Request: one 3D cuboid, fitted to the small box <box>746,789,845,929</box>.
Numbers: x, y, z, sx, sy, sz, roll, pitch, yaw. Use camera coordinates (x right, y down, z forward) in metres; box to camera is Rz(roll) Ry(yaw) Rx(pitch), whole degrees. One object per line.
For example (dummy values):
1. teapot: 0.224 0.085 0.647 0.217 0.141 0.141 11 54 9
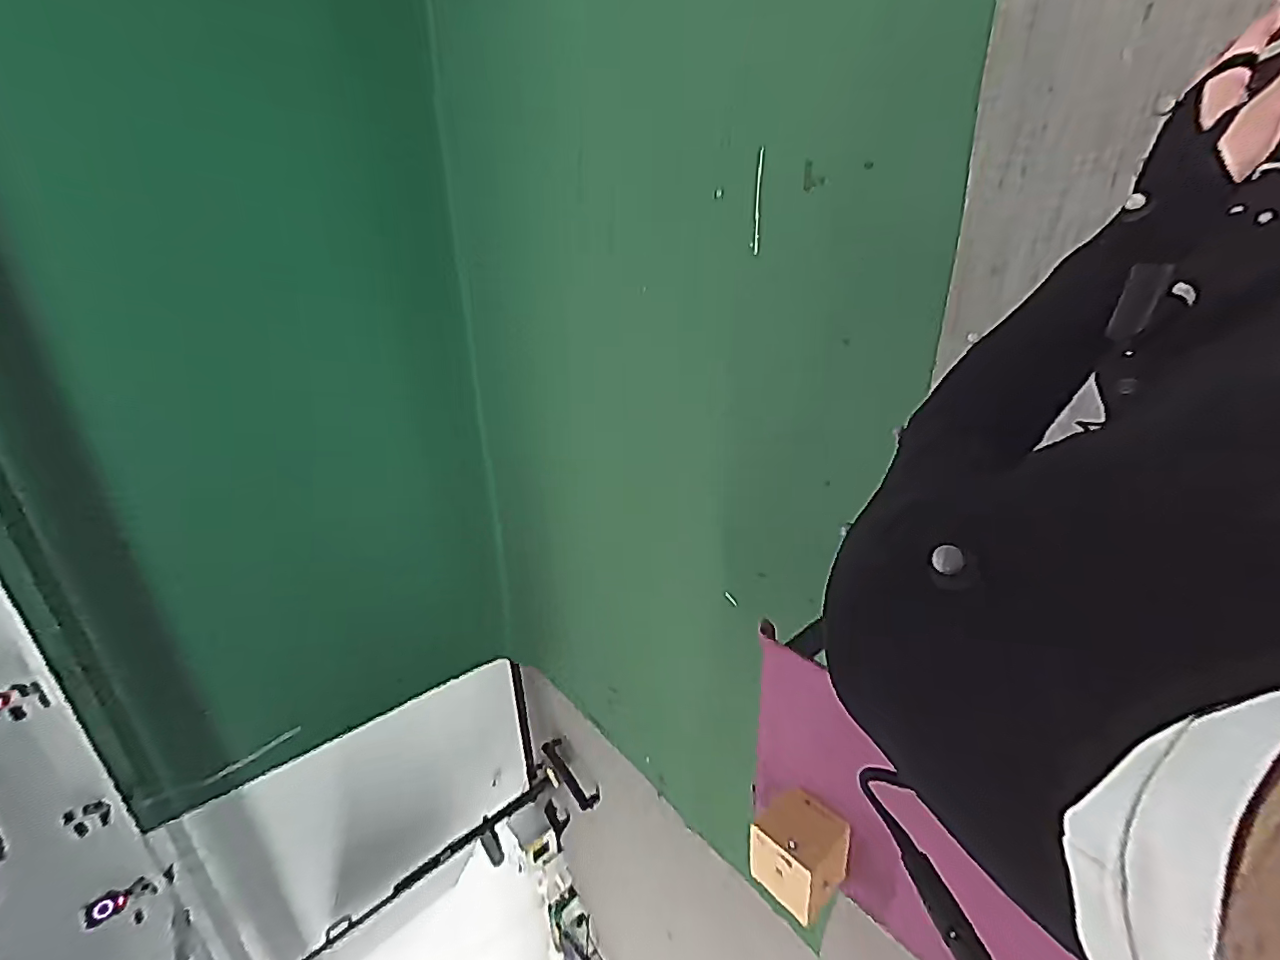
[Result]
1. small box: 0.372 0.896 1.294 0.168 0.176 0.179 18 119 46
